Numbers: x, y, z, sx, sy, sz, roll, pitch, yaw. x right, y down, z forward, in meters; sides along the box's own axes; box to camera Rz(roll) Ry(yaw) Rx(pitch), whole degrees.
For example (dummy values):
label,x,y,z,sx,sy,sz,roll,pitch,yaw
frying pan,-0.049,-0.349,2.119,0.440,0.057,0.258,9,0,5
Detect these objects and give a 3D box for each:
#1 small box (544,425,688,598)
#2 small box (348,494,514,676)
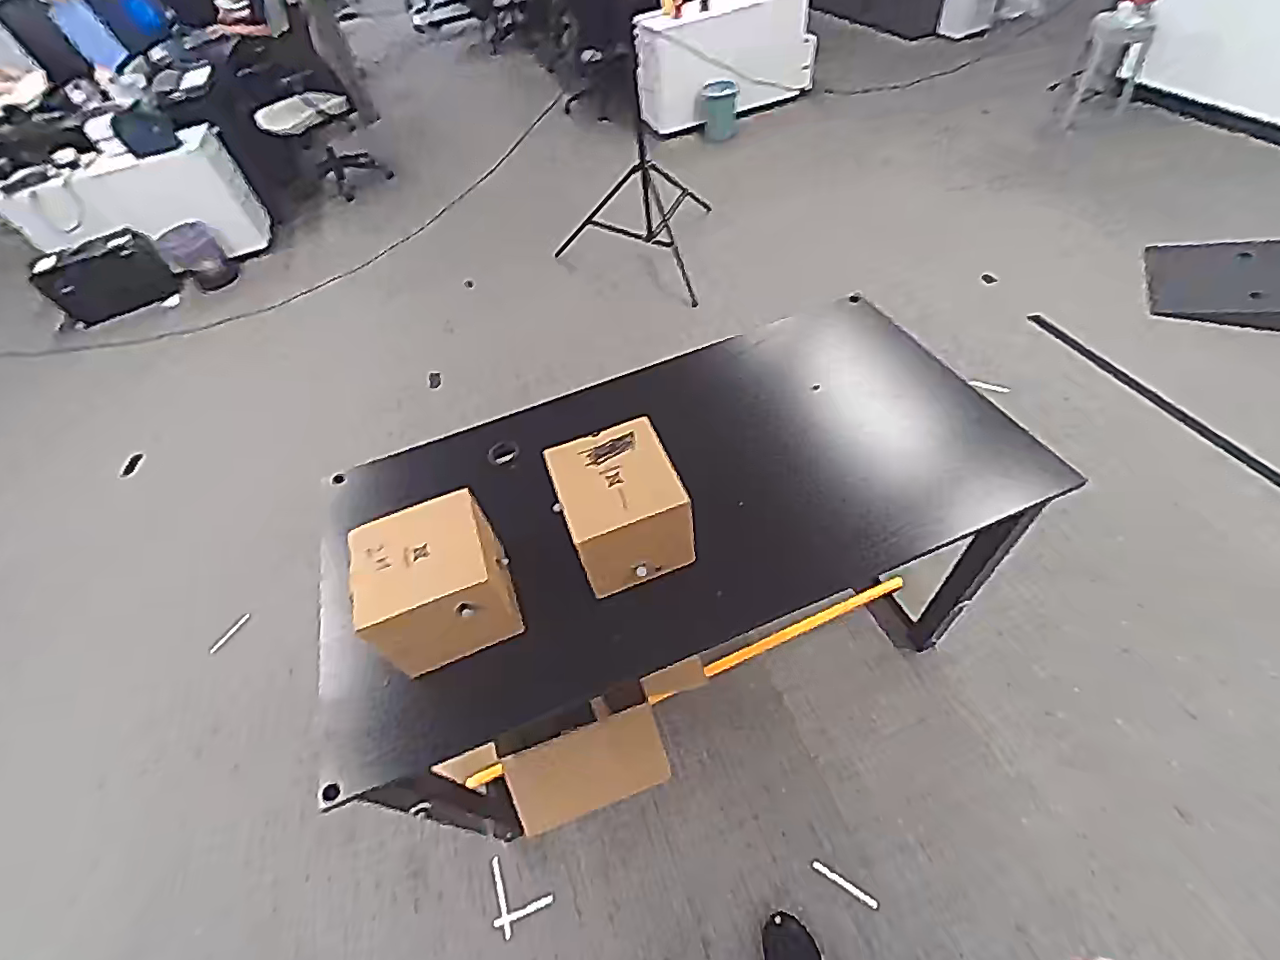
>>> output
label,x,y,z,sx,sy,sz,roll,pitch,yaw
small box,-0.033,0.051,0.834,0.168,0.176,0.179,-20,52,-7
small box,-0.295,0.155,0.788,0.179,0.176,0.168,-21,51,-9
